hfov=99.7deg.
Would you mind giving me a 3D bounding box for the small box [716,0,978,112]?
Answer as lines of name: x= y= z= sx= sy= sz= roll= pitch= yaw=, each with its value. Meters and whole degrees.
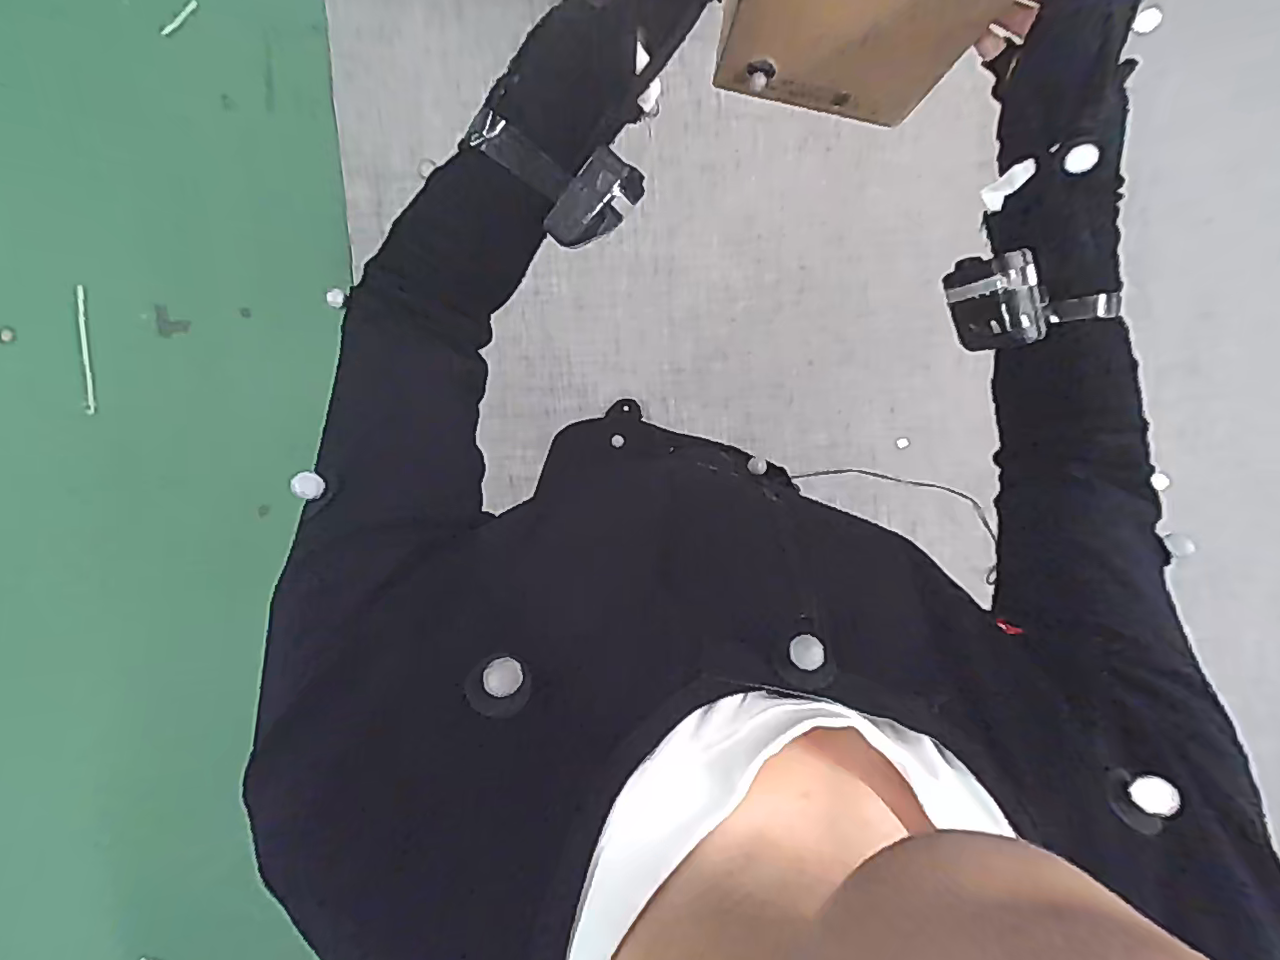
small box: x=0.157 y=-0.404 z=0.377 sx=0.168 sy=0.176 sz=0.179 roll=9 pitch=90 yaw=-5
